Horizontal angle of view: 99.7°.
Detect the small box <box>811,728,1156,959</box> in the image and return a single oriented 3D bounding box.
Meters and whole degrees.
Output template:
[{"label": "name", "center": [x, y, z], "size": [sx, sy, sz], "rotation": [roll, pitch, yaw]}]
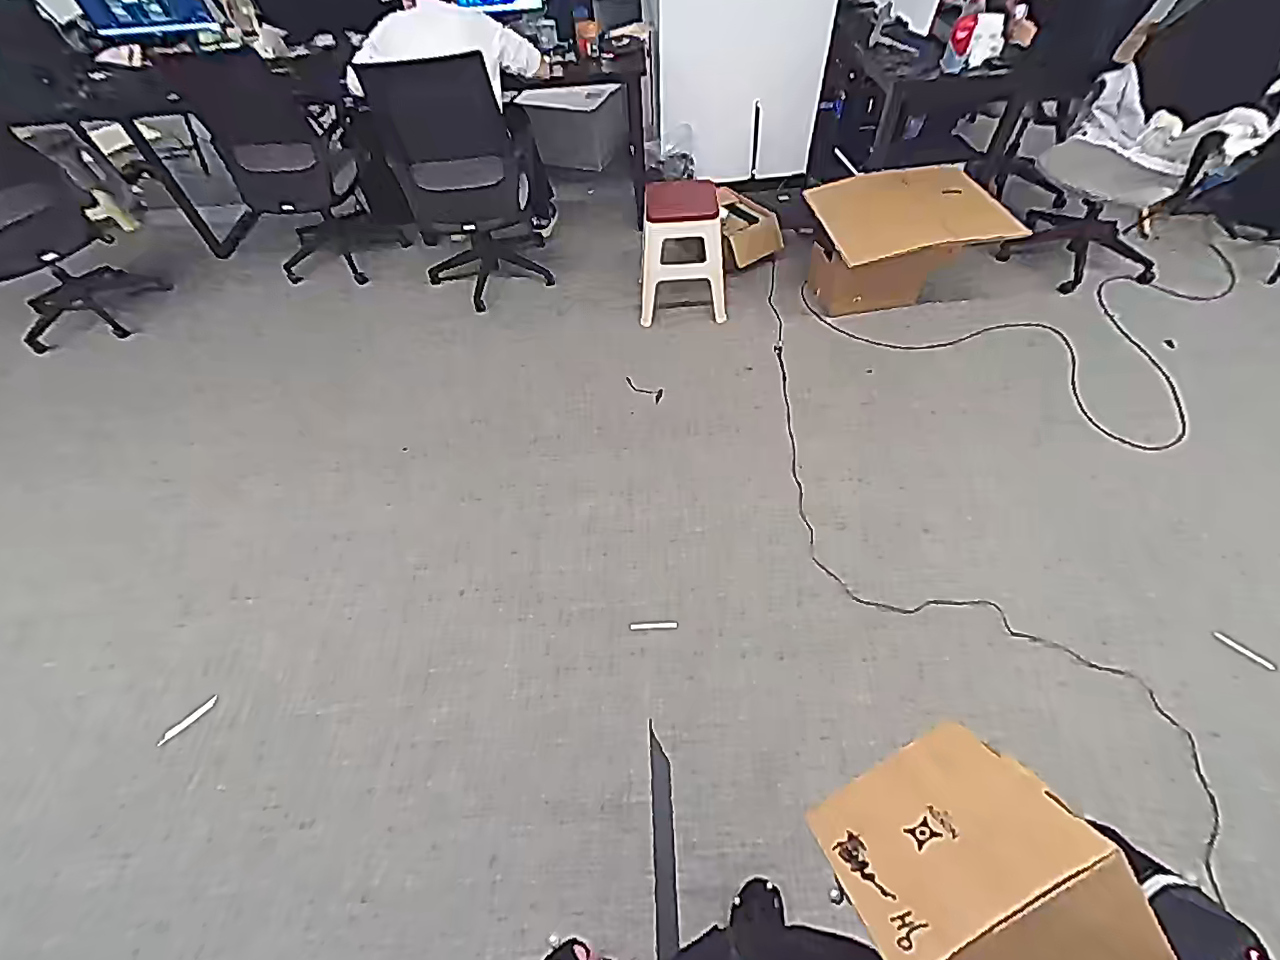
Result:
[{"label": "small box", "center": [0.286, 0.362, 0.460], "size": [0.179, 0.168, 0.176], "rotation": [-30, 96, -3]}]
